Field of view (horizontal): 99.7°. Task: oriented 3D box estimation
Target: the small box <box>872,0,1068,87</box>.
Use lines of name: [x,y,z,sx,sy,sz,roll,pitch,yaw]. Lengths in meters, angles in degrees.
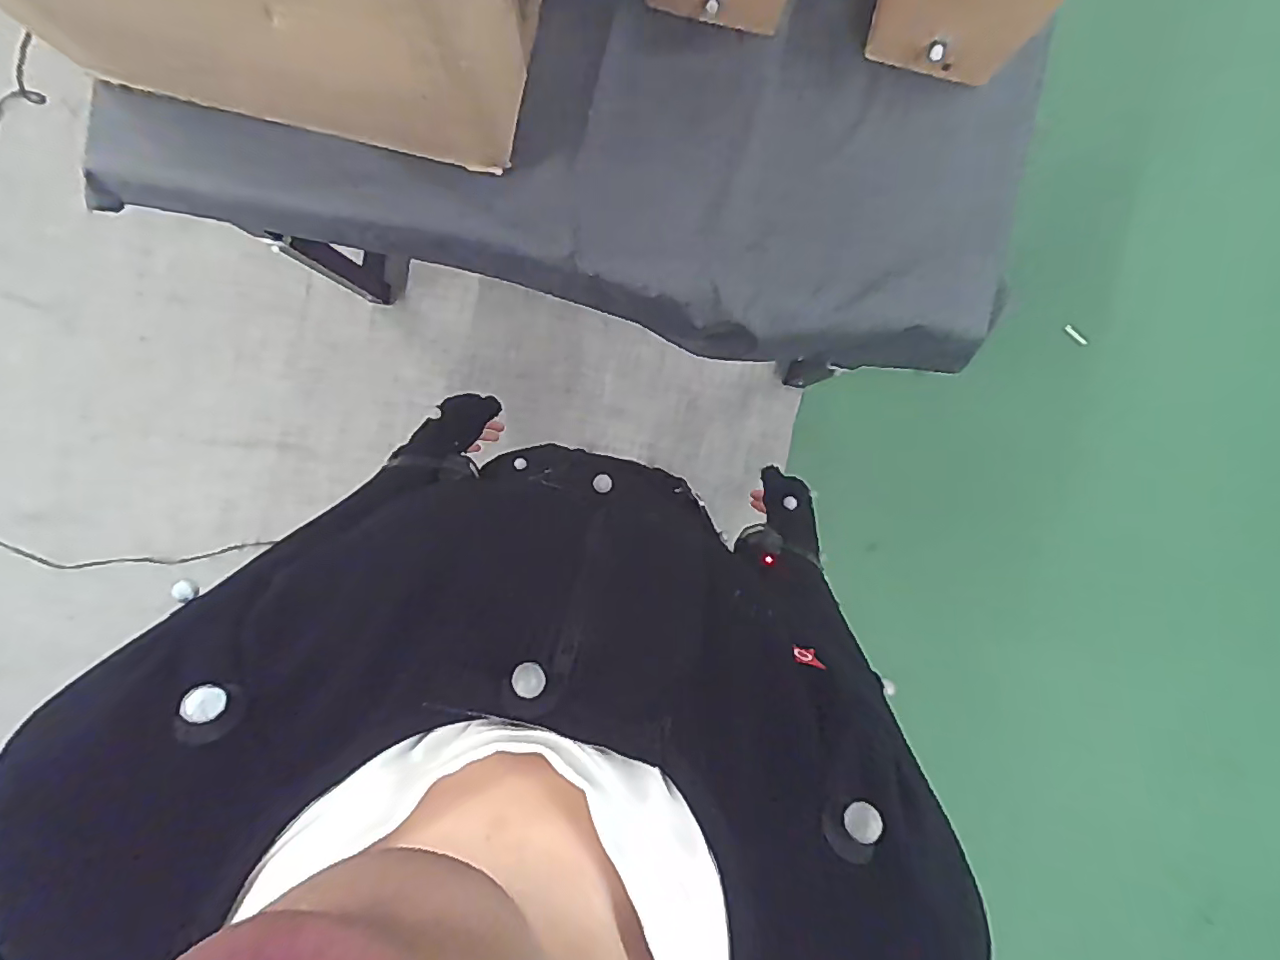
small box: [0.401,-0.620,0.636,0.168,0.176,0.179,14,94,-2]
